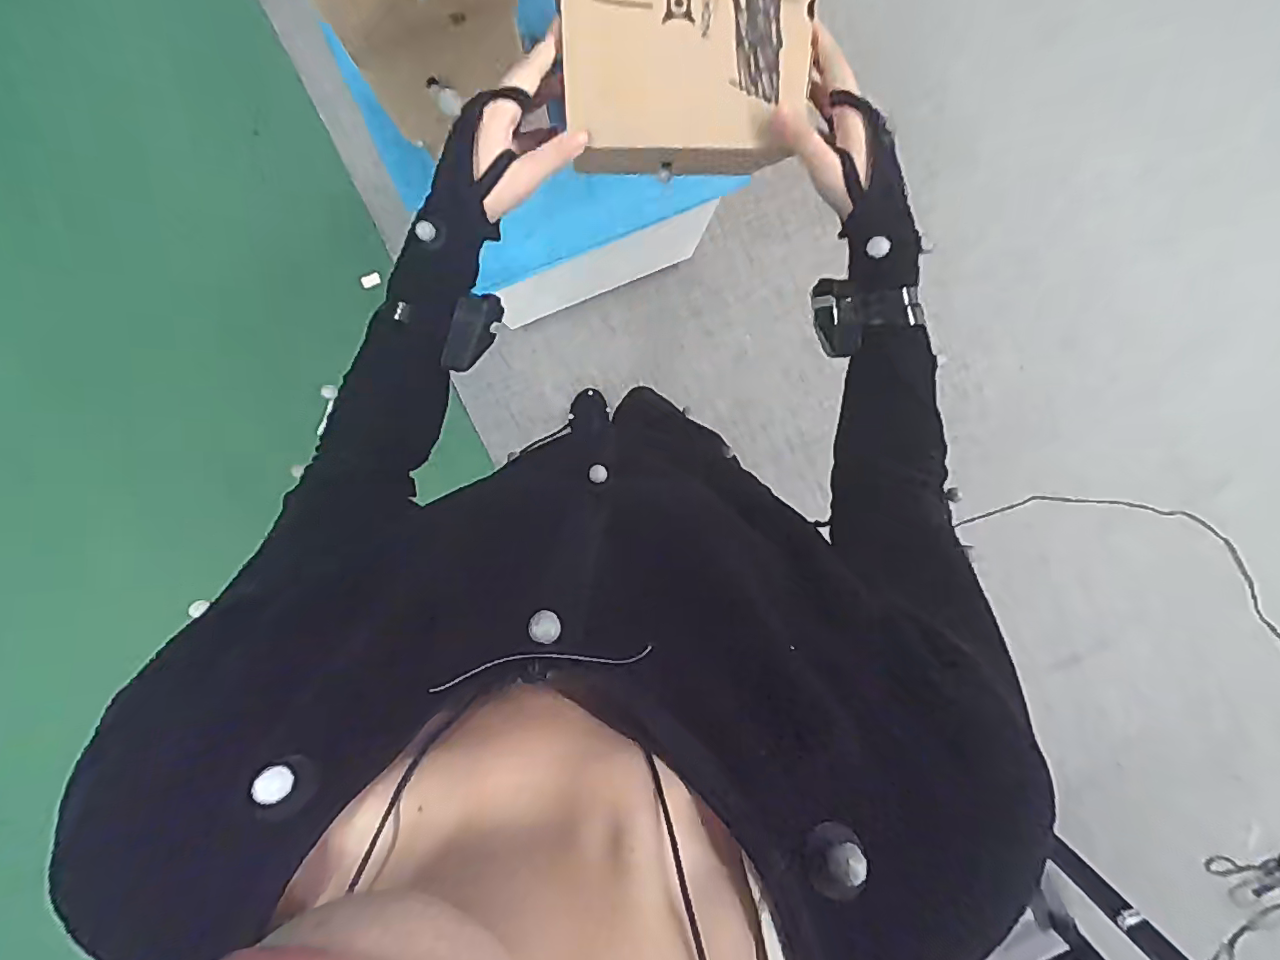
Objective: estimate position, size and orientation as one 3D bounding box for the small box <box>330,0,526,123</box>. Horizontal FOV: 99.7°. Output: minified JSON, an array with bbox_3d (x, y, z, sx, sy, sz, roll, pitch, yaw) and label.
[{"bbox_3d":[-0.234,-0.519,0.573,0.168,0.176,0.179,-21,97,-1],"label":"small box"}]

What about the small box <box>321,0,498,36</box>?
[{"bbox_3d":[-0.213,-0.491,0.413,0.168,0.176,0.179,-22,98,-2],"label":"small box"}]

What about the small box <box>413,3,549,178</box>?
[{"bbox_3d":[-0.234,-0.542,0.734,0.168,0.176,0.179,-22,97,-2],"label":"small box"}]
